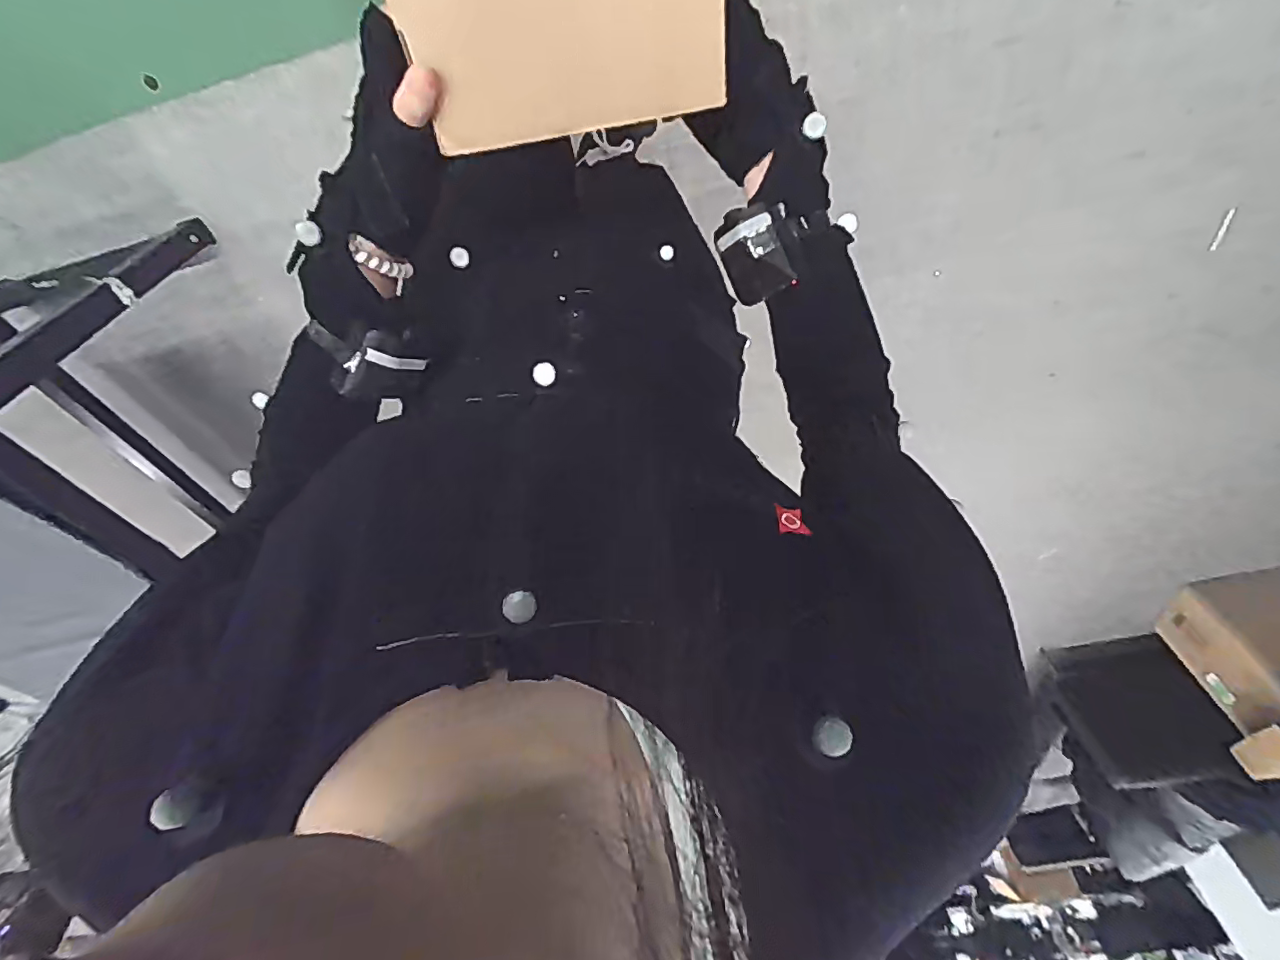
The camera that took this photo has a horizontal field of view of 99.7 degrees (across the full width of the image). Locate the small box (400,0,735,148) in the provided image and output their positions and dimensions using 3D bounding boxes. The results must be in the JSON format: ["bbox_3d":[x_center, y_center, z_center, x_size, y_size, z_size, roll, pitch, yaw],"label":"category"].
[{"bbox_3d":[-0.049,-0.324,0.321,0.179,0.176,0.168,-10,135,0],"label":"small box"}]
